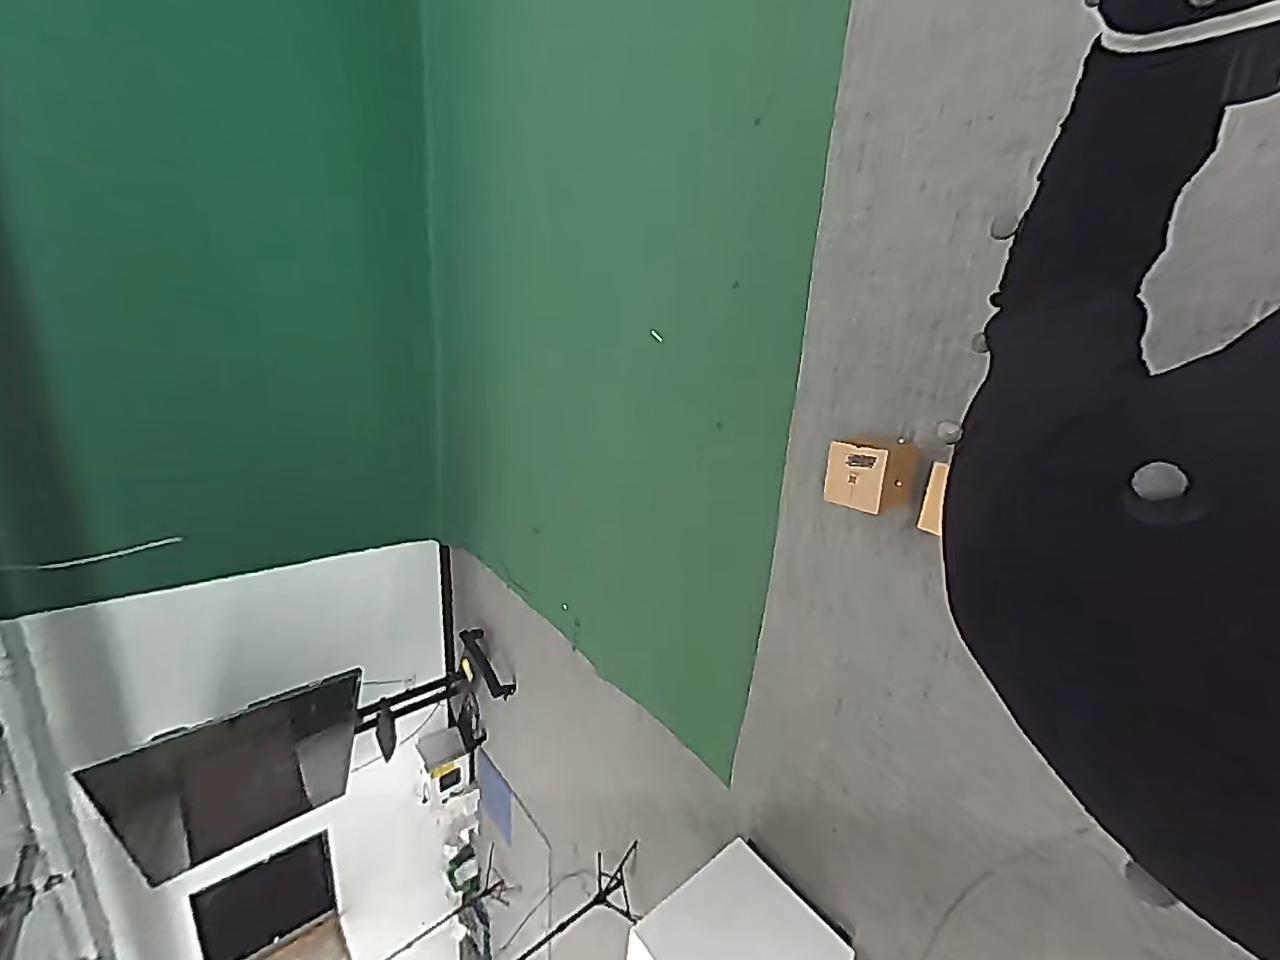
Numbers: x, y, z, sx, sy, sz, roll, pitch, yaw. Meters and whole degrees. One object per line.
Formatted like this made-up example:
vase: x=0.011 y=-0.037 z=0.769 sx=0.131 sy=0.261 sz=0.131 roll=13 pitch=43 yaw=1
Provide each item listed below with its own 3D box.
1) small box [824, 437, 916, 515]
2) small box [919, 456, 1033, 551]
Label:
small box: x=0.639 y=-0.020 z=1.497 sx=0.168 sy=0.176 sz=0.179 roll=20 pitch=112 yaw=48
small box: x=0.809 y=0.048 z=1.300 sx=0.168 sy=0.176 sz=0.179 roll=24 pitch=114 yaw=47
